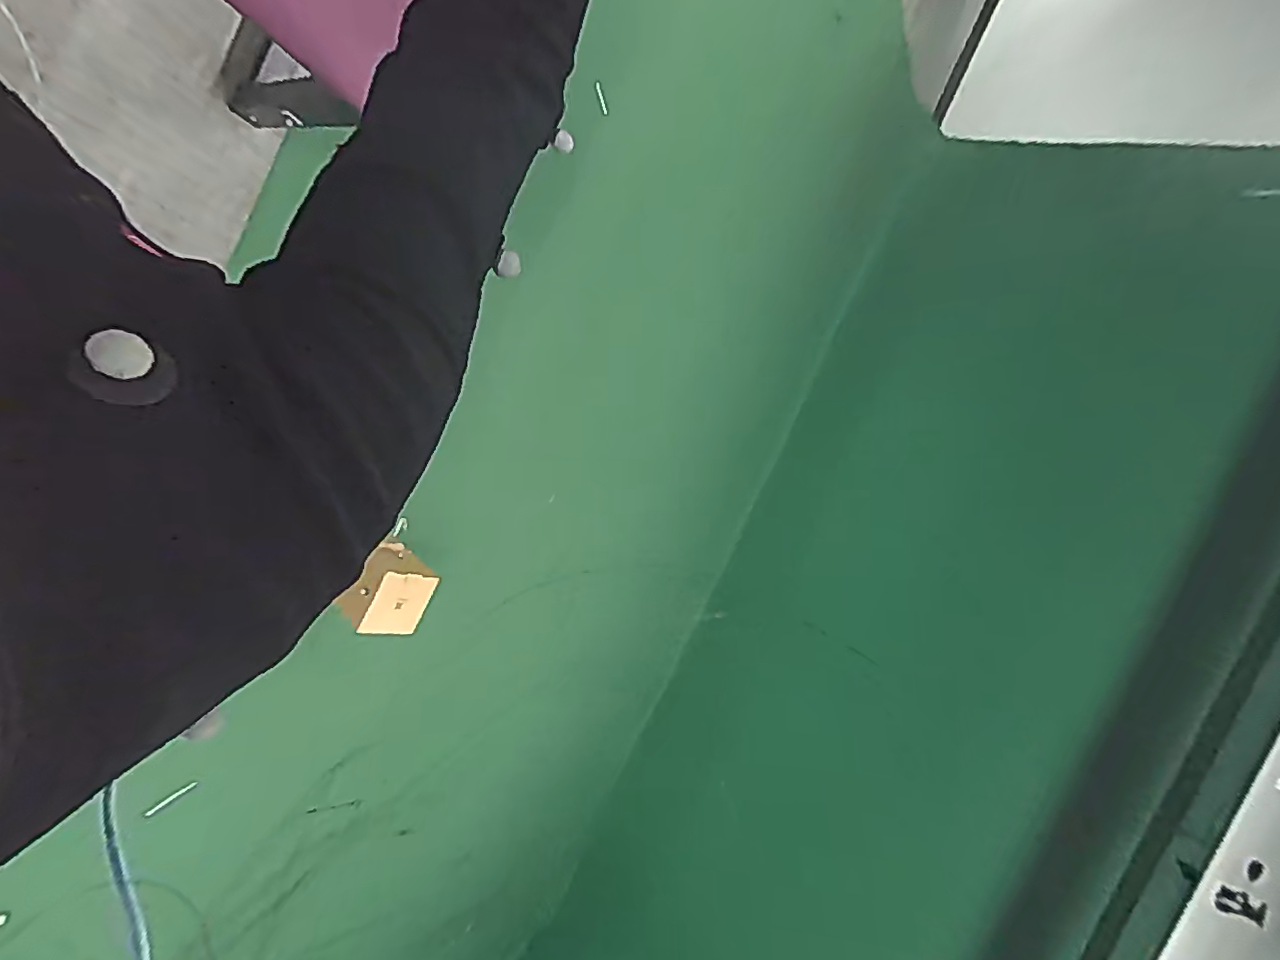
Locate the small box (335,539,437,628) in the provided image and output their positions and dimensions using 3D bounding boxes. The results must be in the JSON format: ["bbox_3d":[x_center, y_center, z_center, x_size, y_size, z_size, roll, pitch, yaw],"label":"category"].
[{"bbox_3d":[-0.702,0.285,1.483,0.168,0.176,0.179,26,90,-56],"label":"small box"}]
